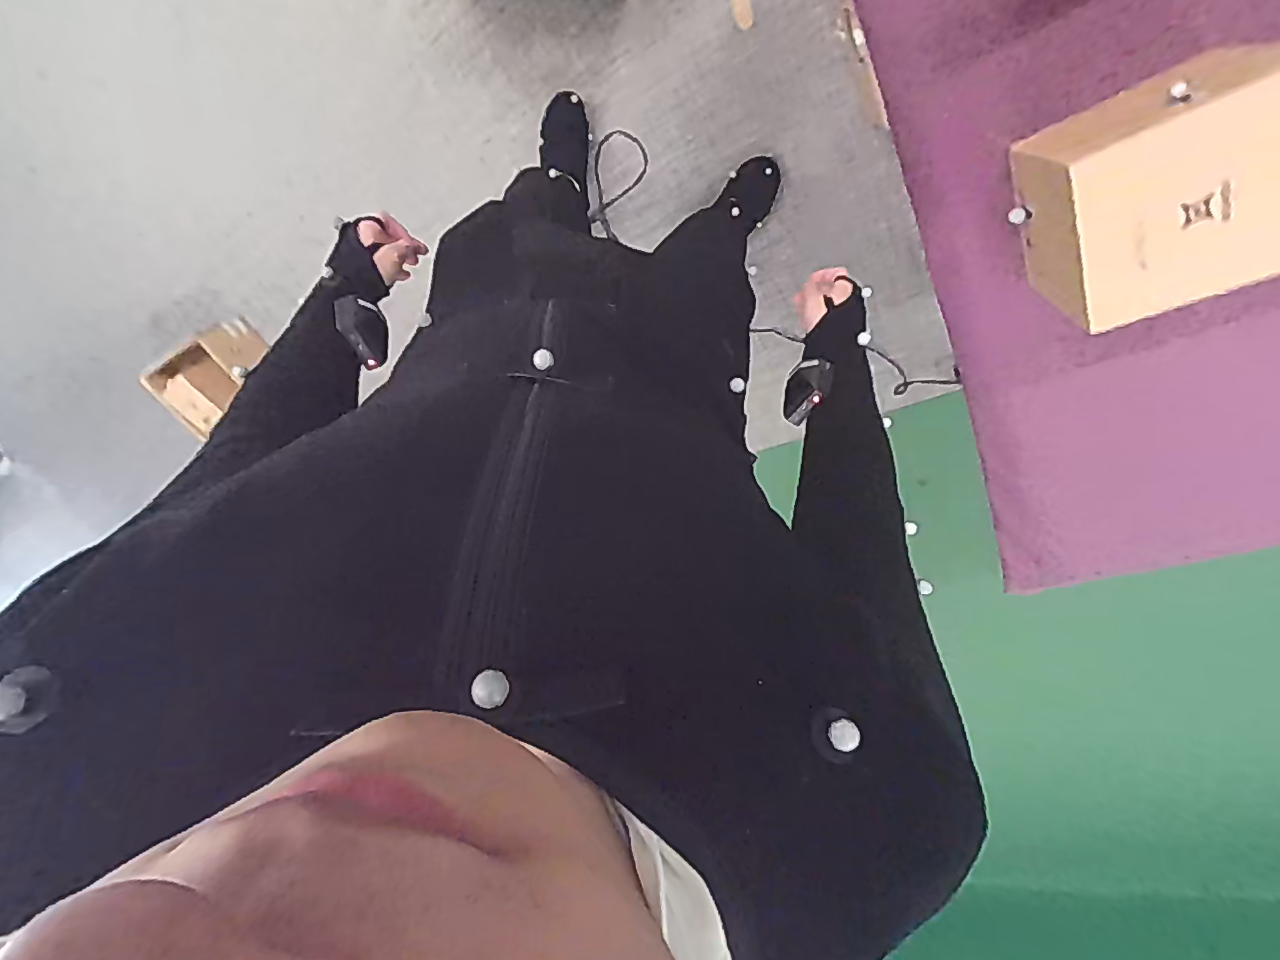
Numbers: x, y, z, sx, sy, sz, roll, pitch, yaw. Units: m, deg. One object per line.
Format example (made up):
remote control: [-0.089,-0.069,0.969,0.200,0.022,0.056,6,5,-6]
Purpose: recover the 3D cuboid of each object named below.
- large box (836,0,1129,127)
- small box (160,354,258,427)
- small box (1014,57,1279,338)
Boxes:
large box: [0.559,-0.862,0.895,0.408,0.320,0.320,-19,120,26]
small box: [-1.518,-0.324,1.913,0.168,0.176,0.179,-22,118,28]
small box: [0.491,-0.268,0.512,0.179,0.176,0.168,-17,119,25]
